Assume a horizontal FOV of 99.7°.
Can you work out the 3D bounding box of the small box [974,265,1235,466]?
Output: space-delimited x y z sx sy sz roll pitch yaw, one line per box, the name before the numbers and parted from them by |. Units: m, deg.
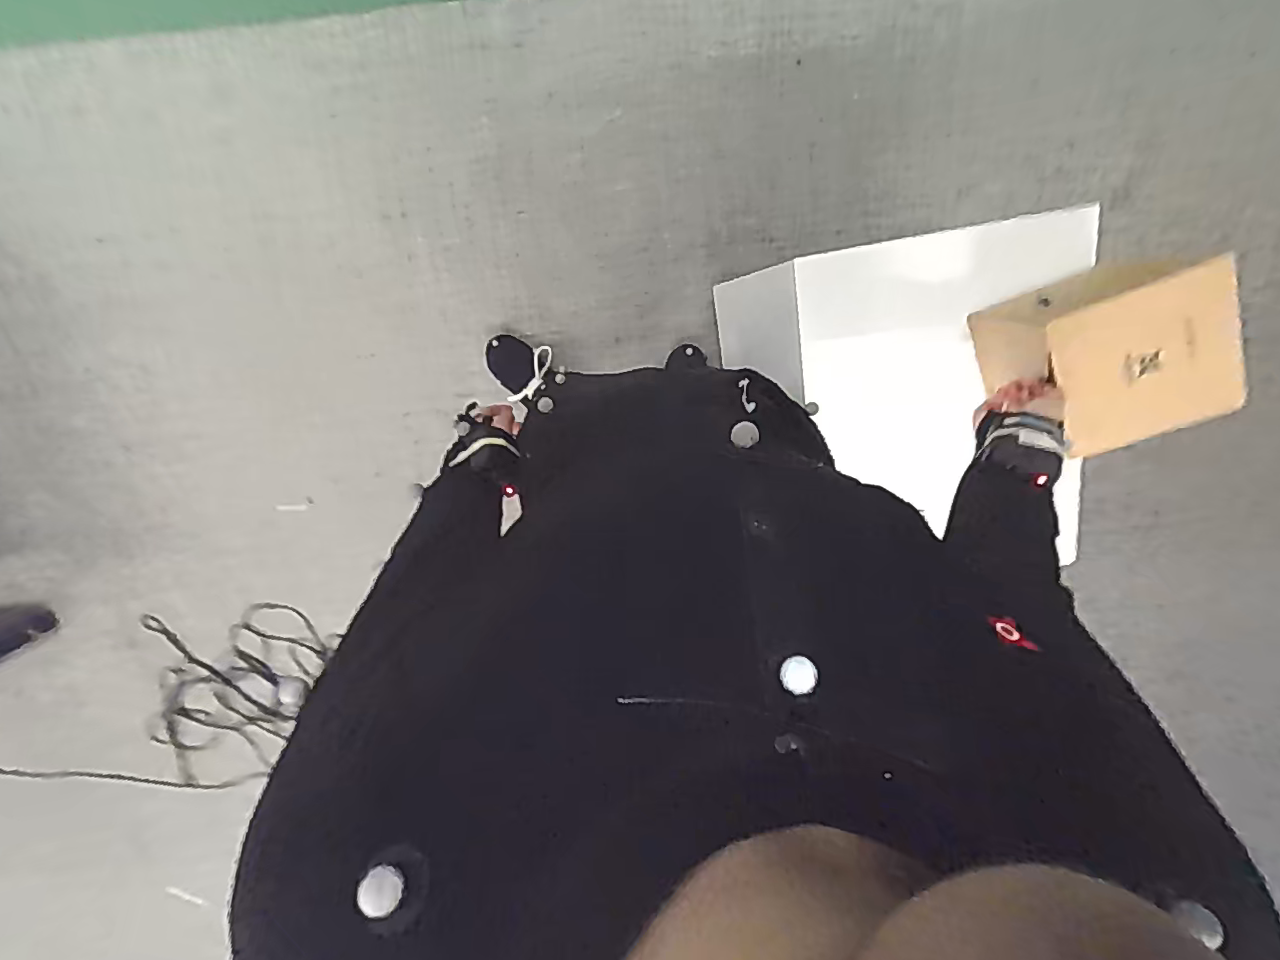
small box | 0.530 -0.139 0.645 0.179 0.176 0.168 -20 107 11
